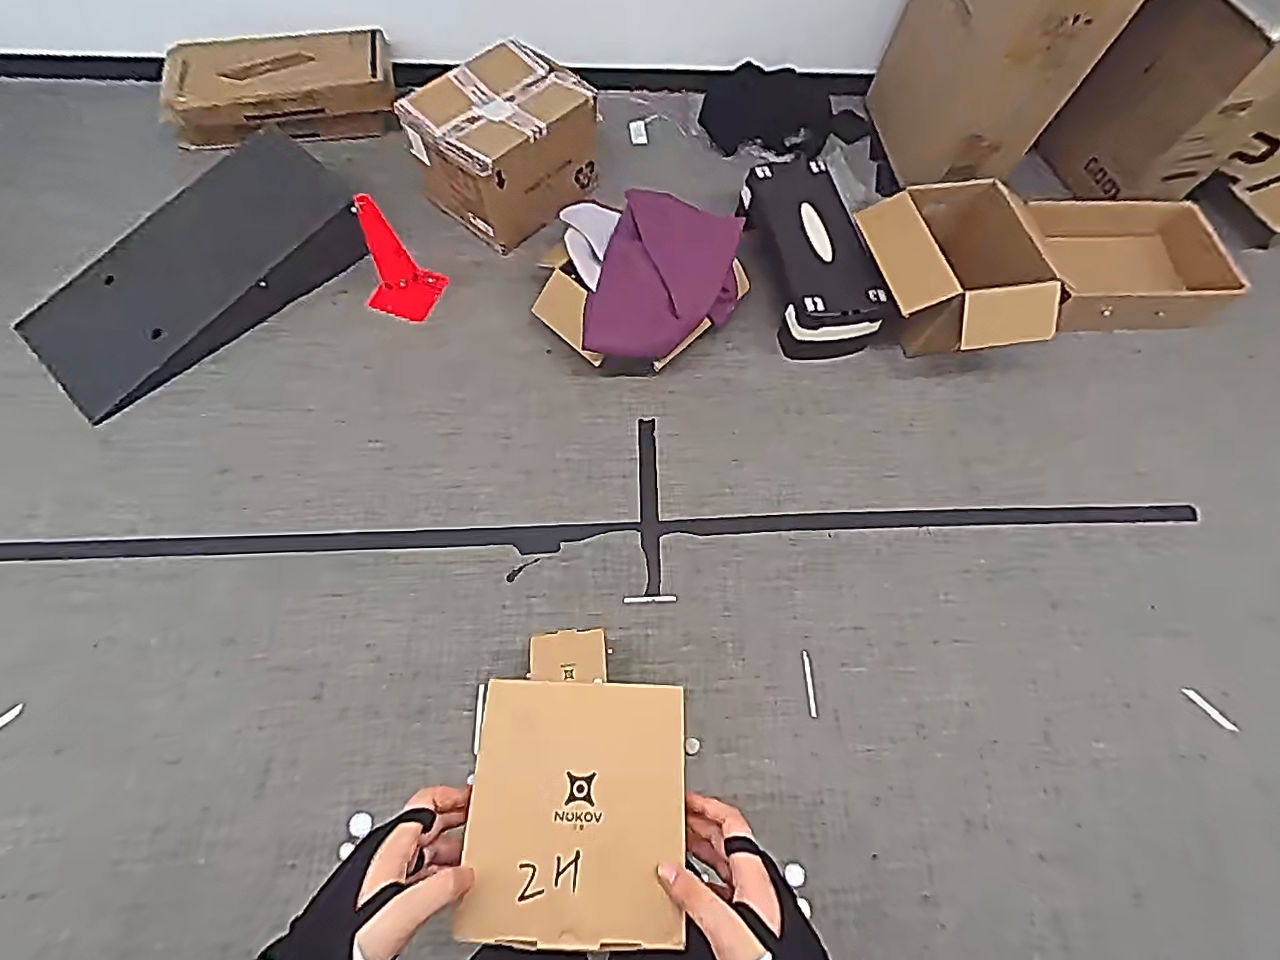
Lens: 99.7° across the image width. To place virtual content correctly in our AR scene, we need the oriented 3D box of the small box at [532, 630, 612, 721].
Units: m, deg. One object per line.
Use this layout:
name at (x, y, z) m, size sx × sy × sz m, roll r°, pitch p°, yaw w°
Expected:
small box at (-0.153, 0.450, 1.237) m, size 0.168 × 0.176 × 0.179 m, roll -5°, pitch 68°, yaw -3°
